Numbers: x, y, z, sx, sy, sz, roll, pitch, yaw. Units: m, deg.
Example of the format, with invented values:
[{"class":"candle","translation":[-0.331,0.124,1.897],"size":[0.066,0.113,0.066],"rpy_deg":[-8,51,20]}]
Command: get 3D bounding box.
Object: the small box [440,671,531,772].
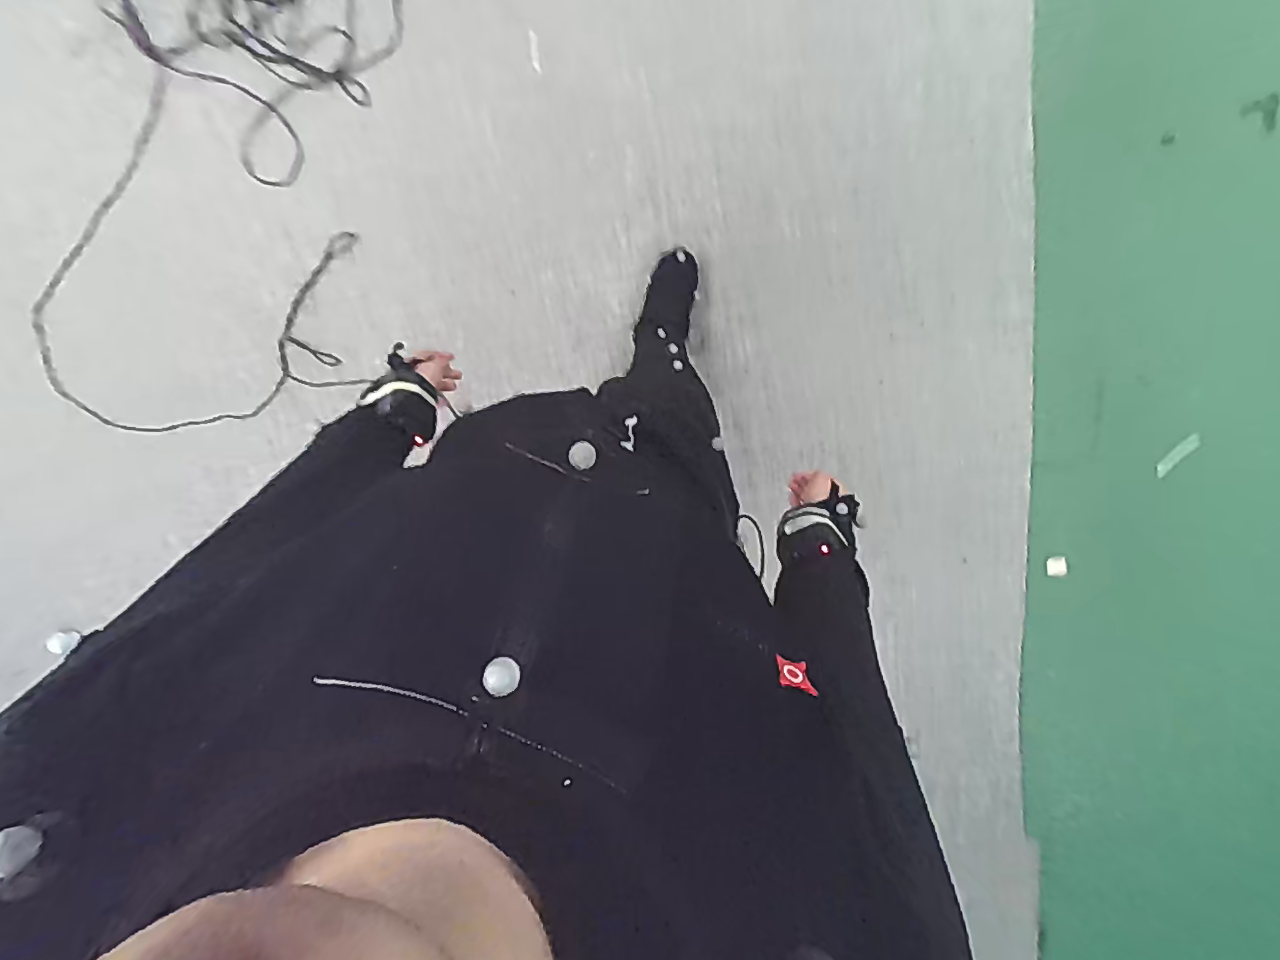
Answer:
[{"class":"small box","translation":[-0.404,0.641,1.447],"size":[0.168,0.176,0.179],"rpy_deg":[-10,104,5]}]
